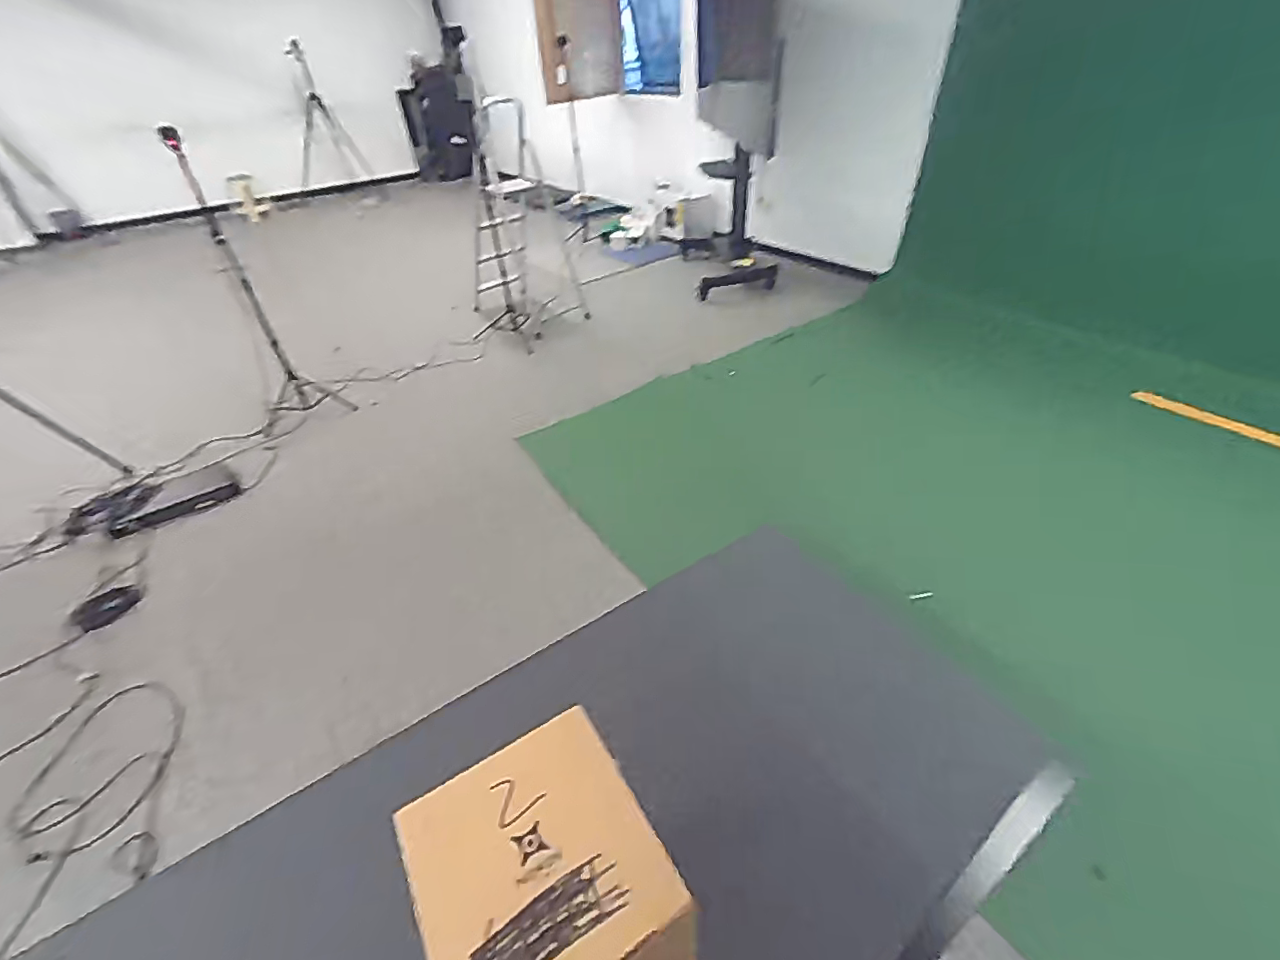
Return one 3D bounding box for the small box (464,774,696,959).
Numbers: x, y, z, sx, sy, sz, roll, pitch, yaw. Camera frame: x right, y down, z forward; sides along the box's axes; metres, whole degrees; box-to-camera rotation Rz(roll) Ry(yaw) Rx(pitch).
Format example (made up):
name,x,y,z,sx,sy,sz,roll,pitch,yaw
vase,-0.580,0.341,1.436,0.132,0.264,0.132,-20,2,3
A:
name,x,y,z,sx,sy,sz,roll,pitch,yaw
small box,-0.059,0.453,0.552,0.168,0.176,0.179,-23,43,-21
